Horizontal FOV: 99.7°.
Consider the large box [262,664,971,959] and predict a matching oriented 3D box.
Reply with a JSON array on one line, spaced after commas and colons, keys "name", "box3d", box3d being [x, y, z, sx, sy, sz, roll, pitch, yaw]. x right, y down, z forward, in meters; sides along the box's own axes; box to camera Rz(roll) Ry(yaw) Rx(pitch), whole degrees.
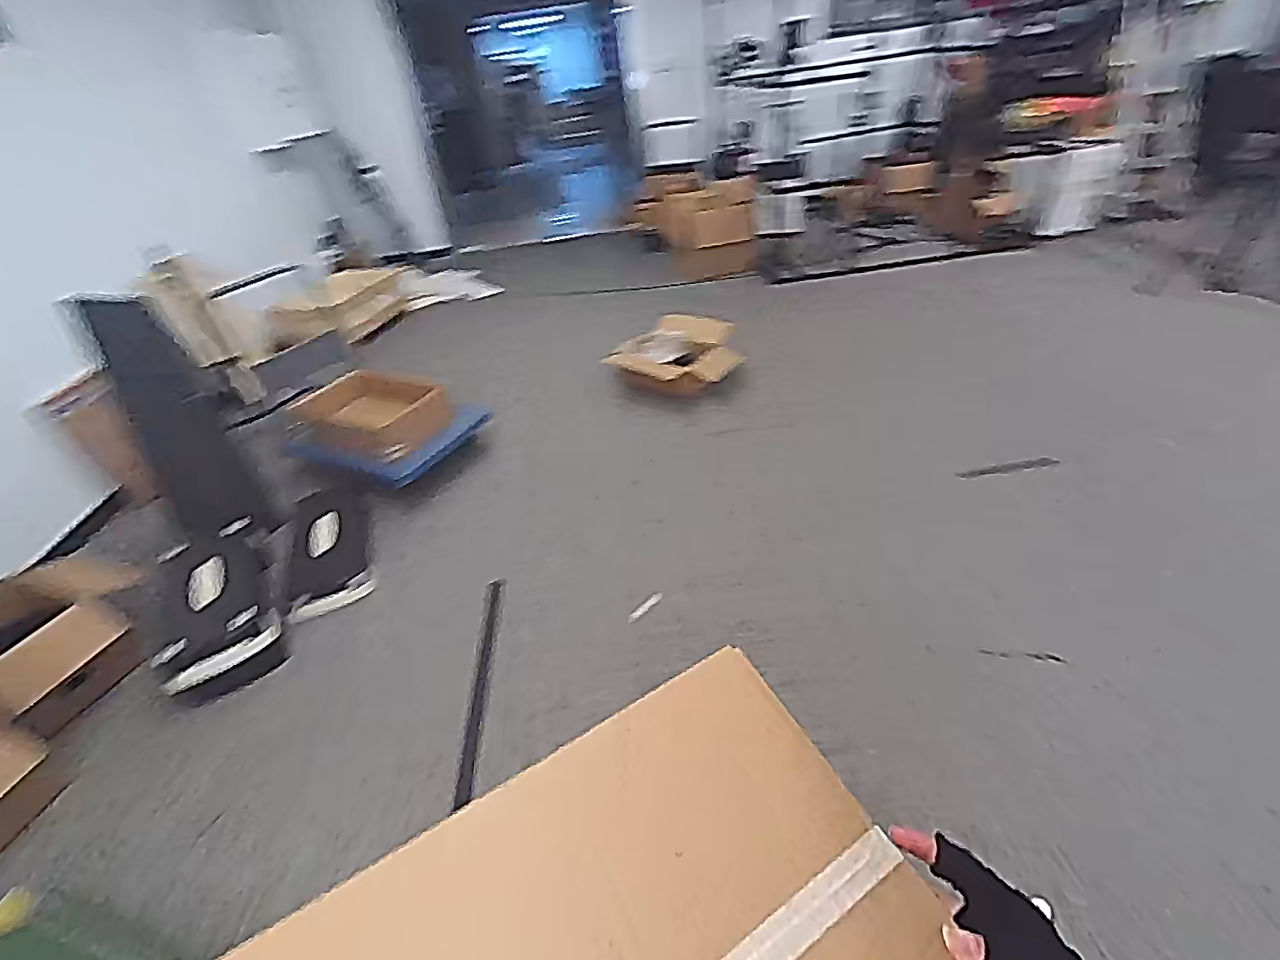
[{"name": "large box", "box3d": [-0.004, 0.415, 0.383, 0.408, 0.320, 0.320, -24, 49, -18]}]
